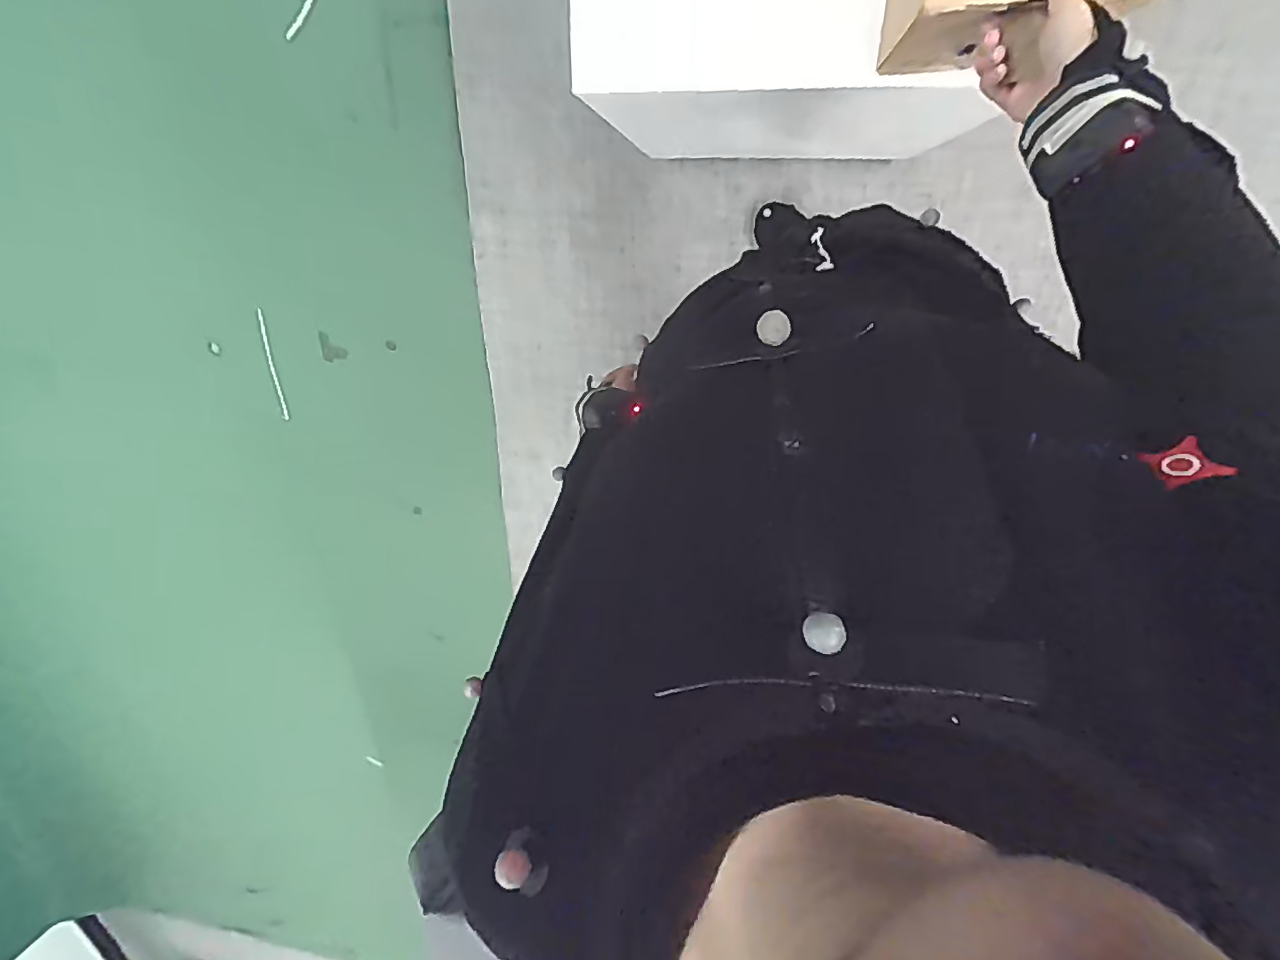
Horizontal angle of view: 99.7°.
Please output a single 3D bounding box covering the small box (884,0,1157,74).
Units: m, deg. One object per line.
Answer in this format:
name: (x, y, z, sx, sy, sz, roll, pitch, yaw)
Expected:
small box: (0.310, -0.459, 0.435, 0.168, 0.176, 0.179, 3, 114, 9)
